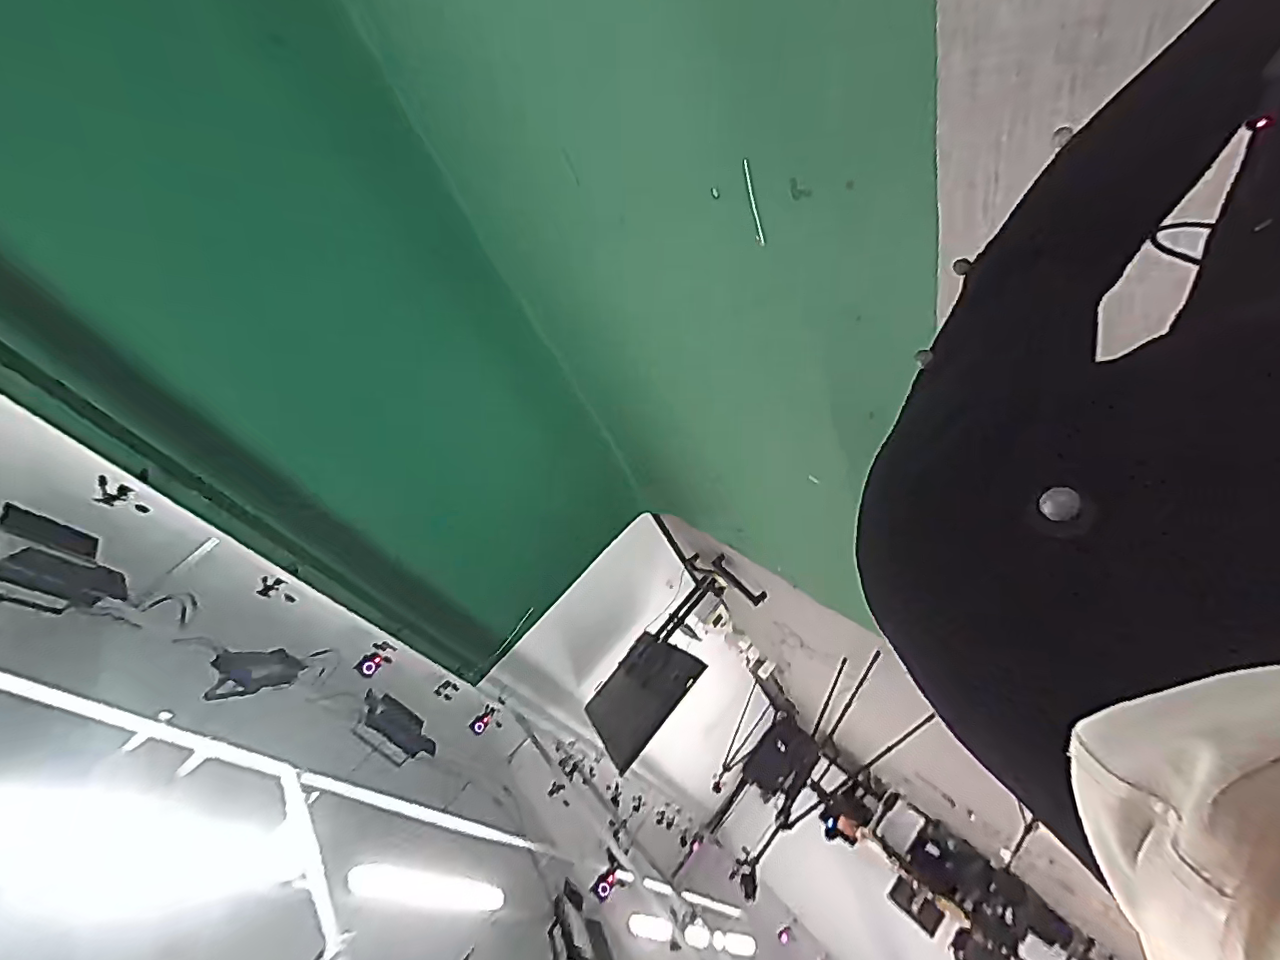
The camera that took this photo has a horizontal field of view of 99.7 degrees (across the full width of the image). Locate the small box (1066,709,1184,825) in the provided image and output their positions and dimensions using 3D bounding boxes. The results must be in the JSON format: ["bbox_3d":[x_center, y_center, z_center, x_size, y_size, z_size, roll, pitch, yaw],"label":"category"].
[{"bbox_3d":[1.212,0.717,1.357,0.168,0.176,0.179,27,157,45],"label":"small box"}]
